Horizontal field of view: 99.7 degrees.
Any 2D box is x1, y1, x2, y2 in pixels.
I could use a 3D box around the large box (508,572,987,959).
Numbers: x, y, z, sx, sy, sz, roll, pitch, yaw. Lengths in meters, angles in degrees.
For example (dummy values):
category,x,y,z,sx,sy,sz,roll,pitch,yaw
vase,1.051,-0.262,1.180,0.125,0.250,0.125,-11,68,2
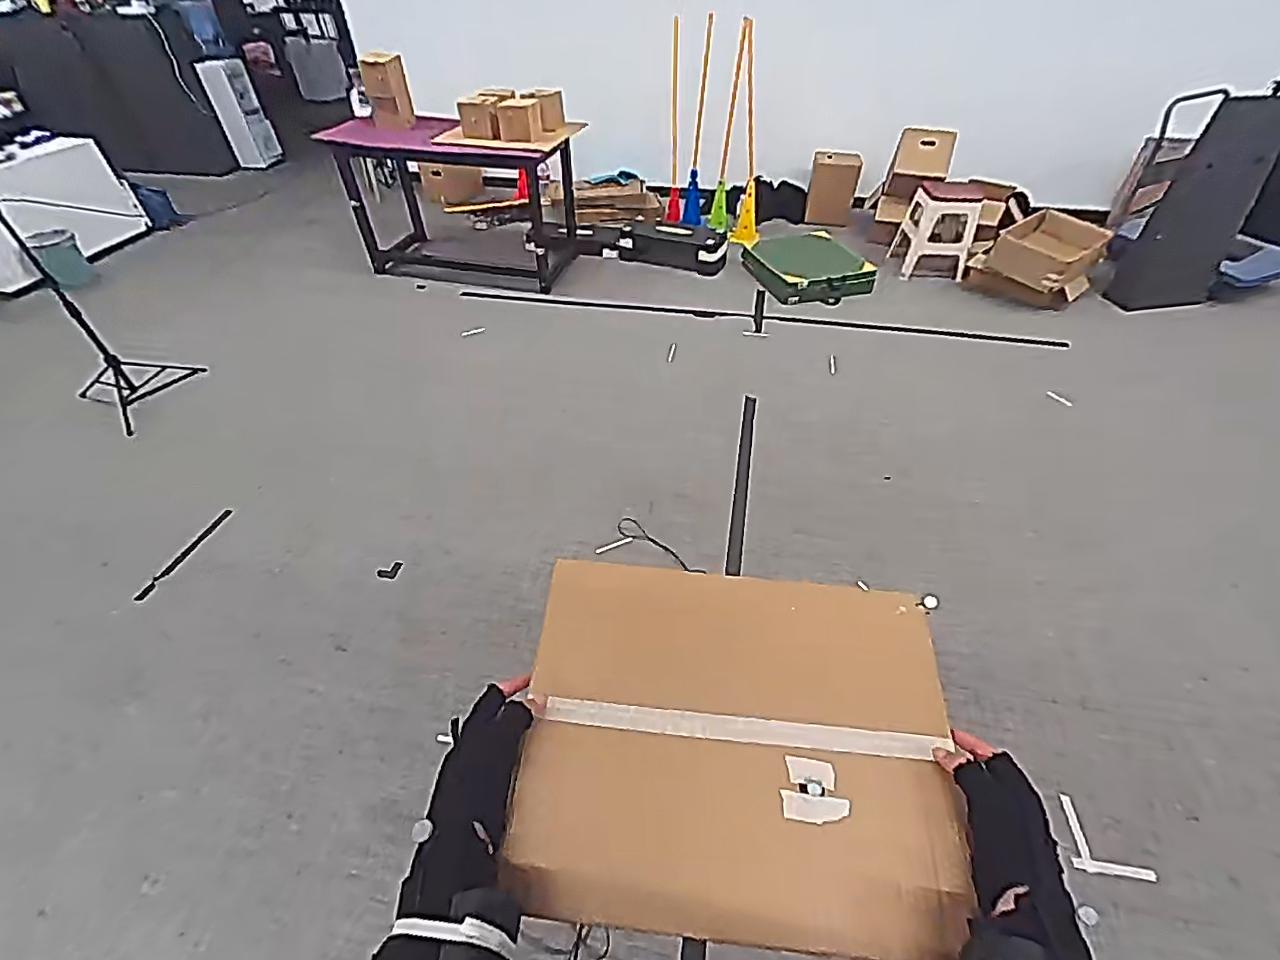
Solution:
category,x,y,z,sx,sy,sz,roll,pitch,yaw
large box,0.095,0.330,0.649,0.408,0.320,0.320,5,56,3
